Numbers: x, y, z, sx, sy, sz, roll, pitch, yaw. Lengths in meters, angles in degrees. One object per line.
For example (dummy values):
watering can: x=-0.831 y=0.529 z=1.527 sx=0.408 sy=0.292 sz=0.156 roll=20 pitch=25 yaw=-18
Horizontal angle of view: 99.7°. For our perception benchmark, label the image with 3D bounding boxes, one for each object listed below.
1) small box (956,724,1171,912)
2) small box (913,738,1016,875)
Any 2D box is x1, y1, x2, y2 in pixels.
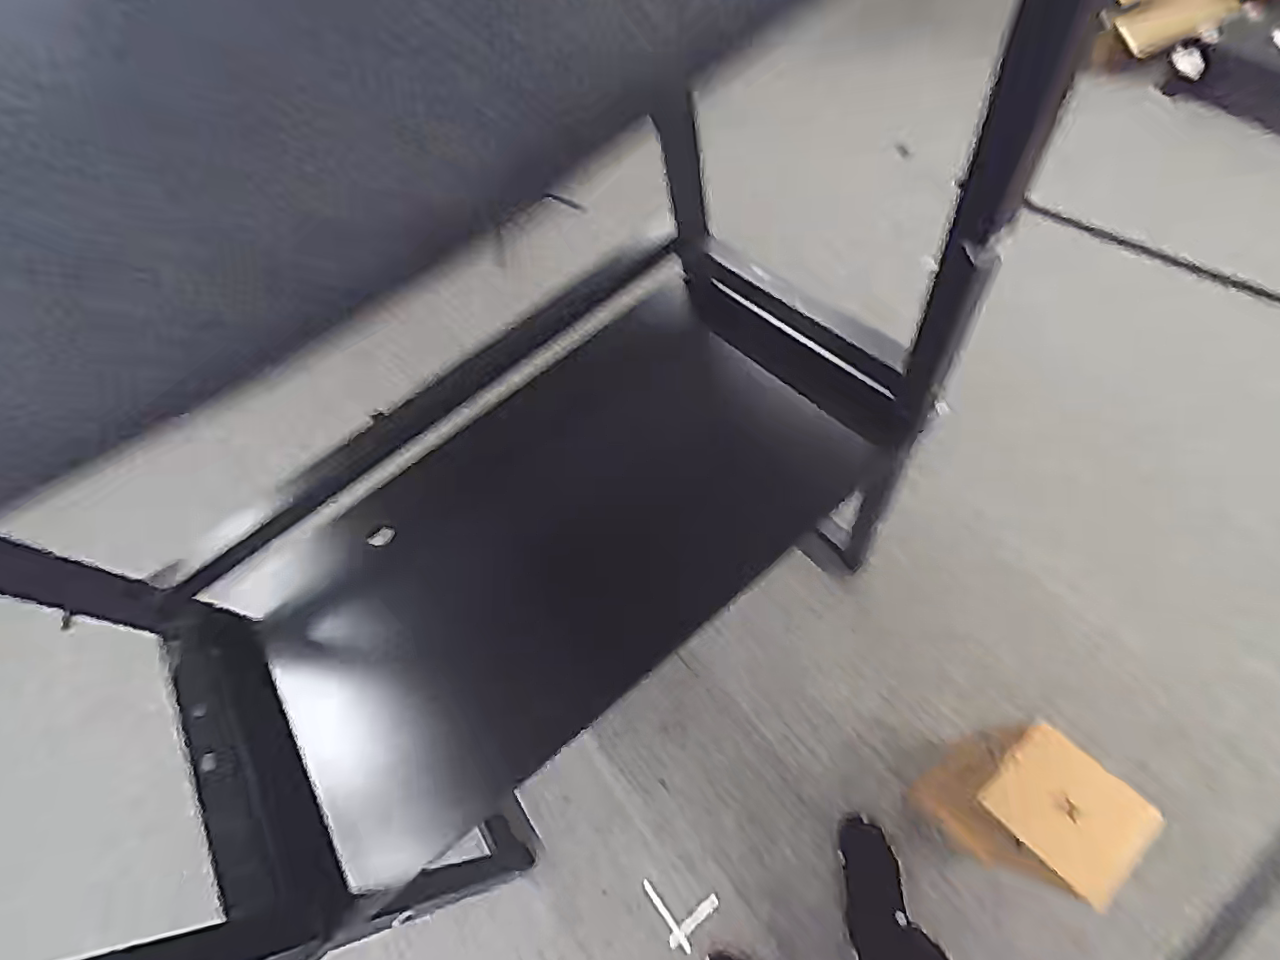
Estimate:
small box: x=0.640 y=0.511 z=0.842 sx=0.168 sy=0.176 sz=0.179 roll=-42 pitch=60 yaw=-11
small box: x=0.701 y=0.668 z=1.123 sx=0.179 sy=0.176 sz=0.168 roll=-41 pitch=60 yaw=-10
